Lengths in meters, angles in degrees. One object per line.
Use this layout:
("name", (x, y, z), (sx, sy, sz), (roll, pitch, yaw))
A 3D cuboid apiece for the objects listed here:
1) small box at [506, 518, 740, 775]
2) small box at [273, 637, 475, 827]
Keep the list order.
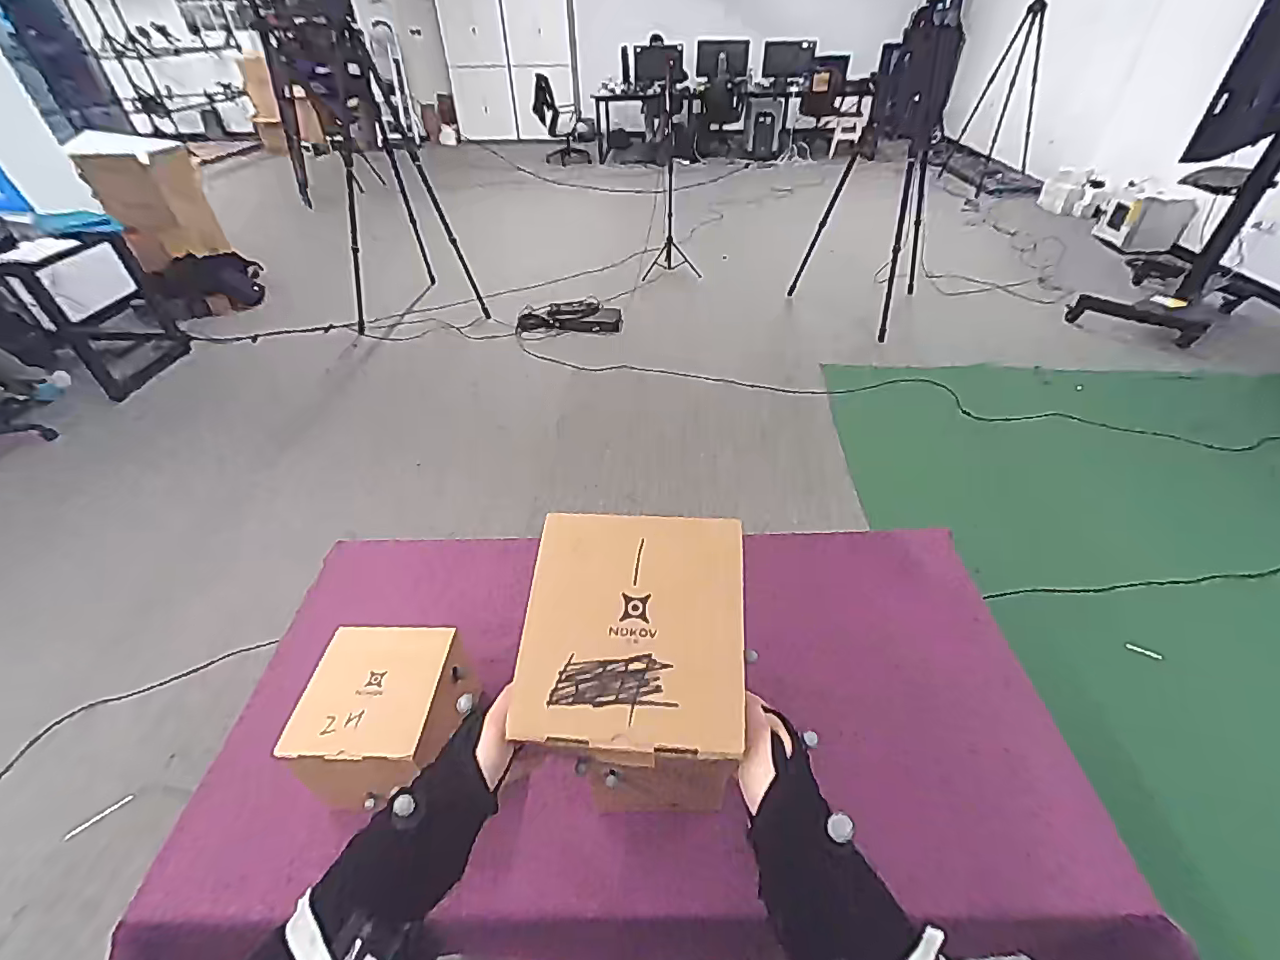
("small box", (0.001, 0.151, 0.474), (0.168, 0.176, 0.179), (1, 56, 6))
("small box", (-0.331, 0.332, 0.720), (0.168, 0.176, 0.179), (-1, 40, 2))
